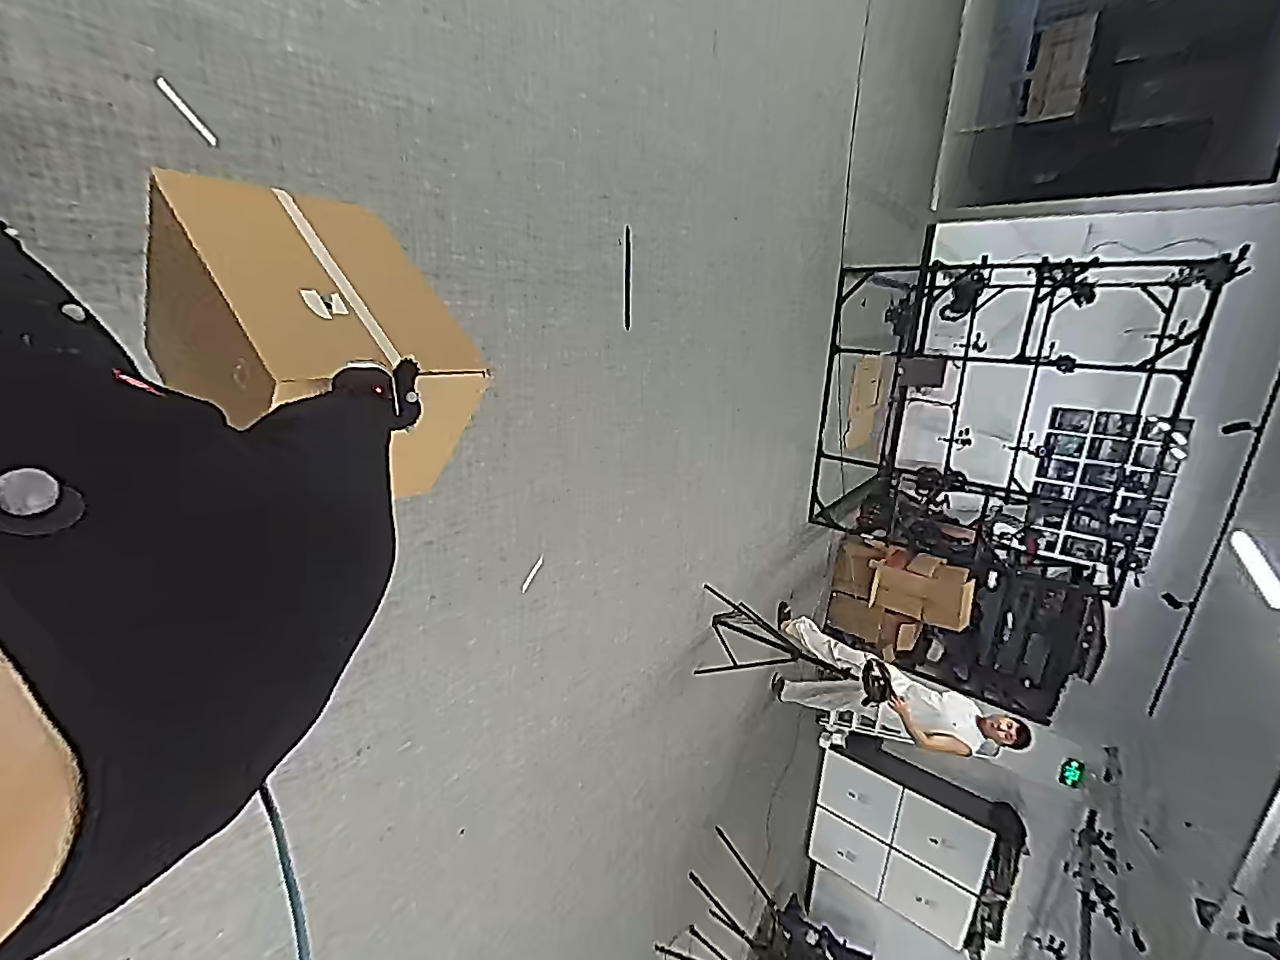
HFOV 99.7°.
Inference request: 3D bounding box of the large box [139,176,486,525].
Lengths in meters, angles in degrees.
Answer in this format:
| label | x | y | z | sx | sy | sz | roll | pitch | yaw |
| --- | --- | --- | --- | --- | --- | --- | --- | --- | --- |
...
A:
| label | x | y | z | sx | sy | sz | roll | pitch | yaw |
| --- | --- | --- | --- | --- | --- | --- | --- | --- | --- |
| large box | -0.539 | -0.200 | 0.885 | 0.320 | 0.408 | 0.320 | -20 | 157 | -53 |
